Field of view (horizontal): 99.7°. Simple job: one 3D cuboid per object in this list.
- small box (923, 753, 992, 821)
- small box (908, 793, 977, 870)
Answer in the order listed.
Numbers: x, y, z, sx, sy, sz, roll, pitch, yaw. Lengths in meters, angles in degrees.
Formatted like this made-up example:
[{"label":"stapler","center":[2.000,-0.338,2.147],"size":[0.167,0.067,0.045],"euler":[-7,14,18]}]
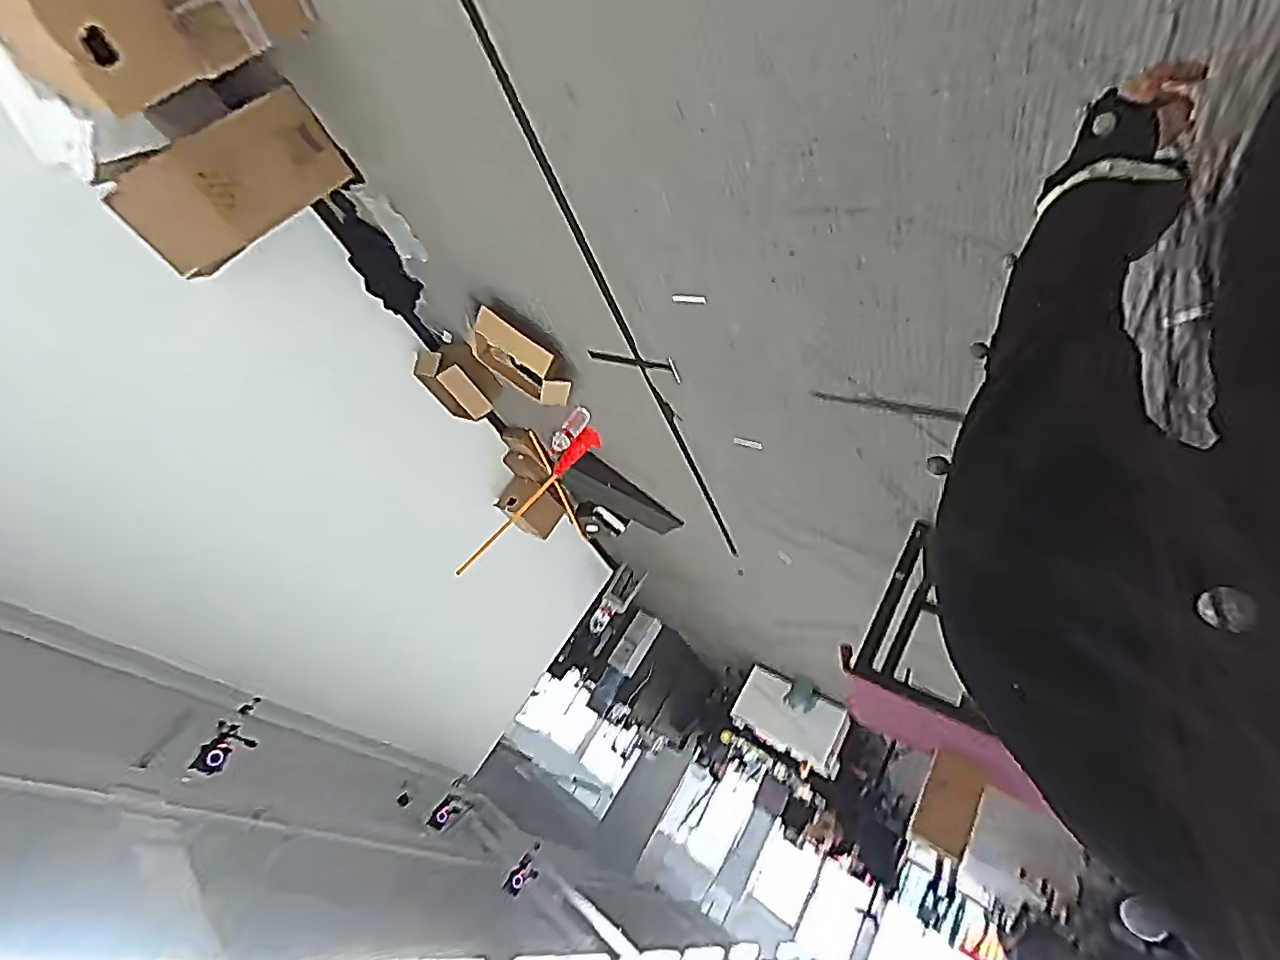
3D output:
[{"label":"small box","center":[1.187,1.150,2.026],"size":[0.179,0.176,0.168],"euler":[20,153,34]},{"label":"small box","center":[1.099,1.274,1.965],"size":[0.179,0.176,0.168],"euler":[20,152,33]}]
